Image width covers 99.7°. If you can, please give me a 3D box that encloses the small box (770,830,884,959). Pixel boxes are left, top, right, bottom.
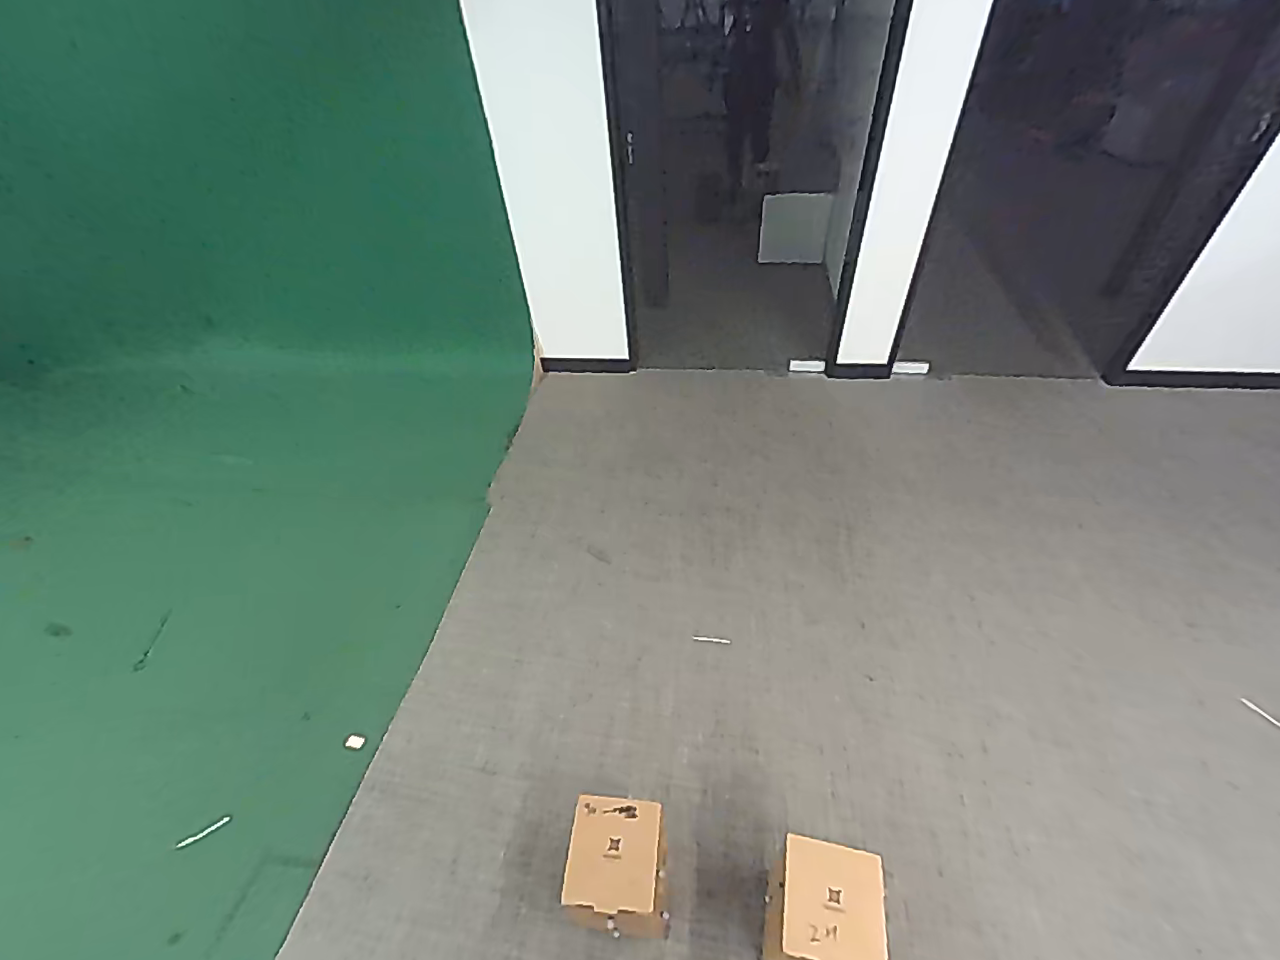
[{"bbox_3d":[0.331,0.774,0.981,0.168,0.176,0.179,7,46,12],"label":"small box"}]

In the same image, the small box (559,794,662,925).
[{"bbox_3d":[-0.048,0.738,1.049,0.168,0.176,0.179,2,45,7],"label":"small box"}]

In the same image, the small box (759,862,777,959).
[{"bbox_3d":[0.338,0.893,1.095,0.168,0.176,0.179,8,47,13],"label":"small box"}]
